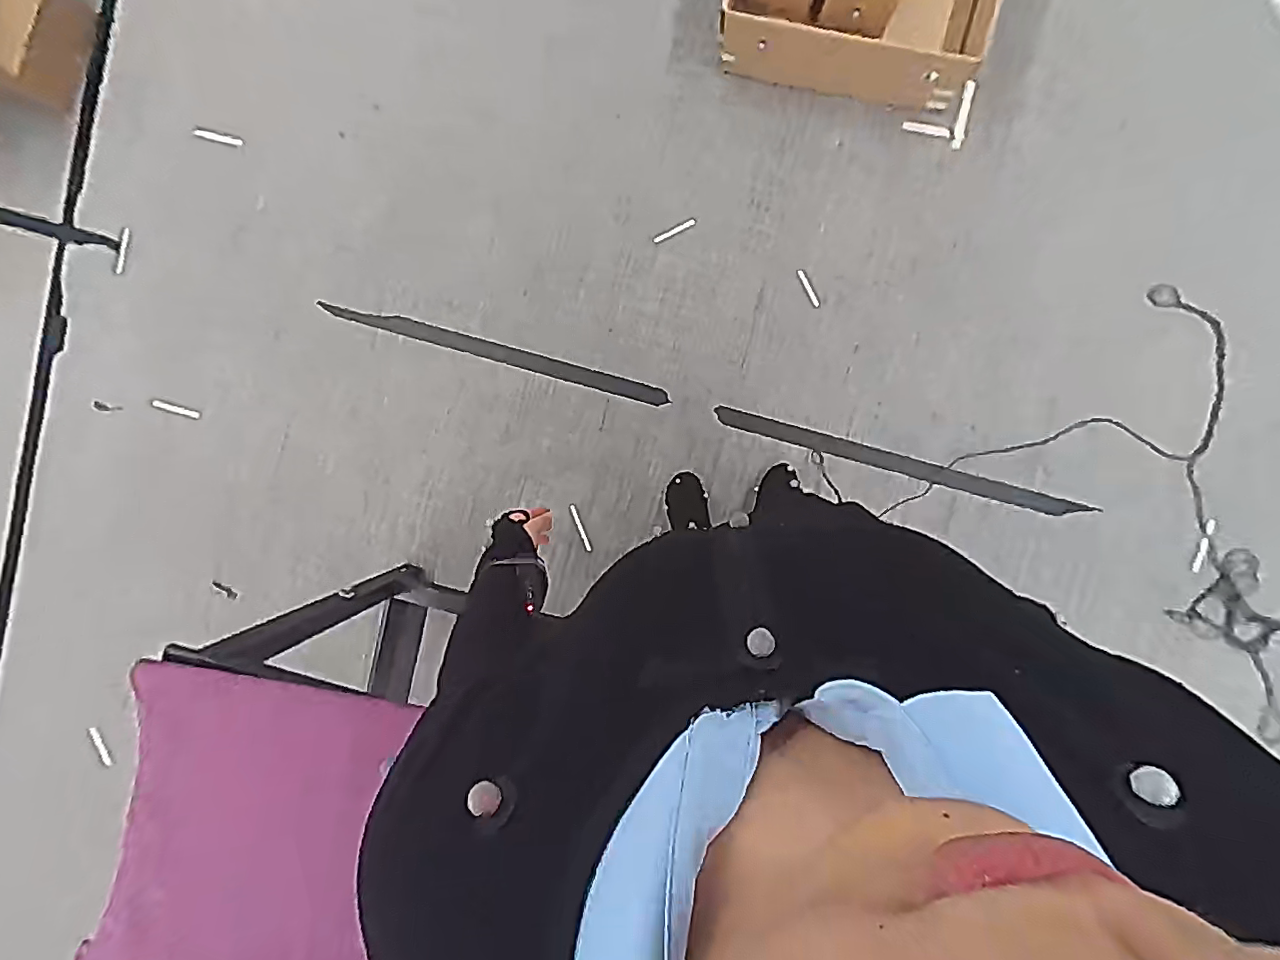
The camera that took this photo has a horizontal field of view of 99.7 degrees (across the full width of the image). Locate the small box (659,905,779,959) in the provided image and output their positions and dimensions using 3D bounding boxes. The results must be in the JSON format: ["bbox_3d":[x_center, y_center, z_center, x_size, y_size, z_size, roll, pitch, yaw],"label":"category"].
[{"bbox_3d":[0.100,0.732,0.720,0.168,0.176,0.179,11,93,6],"label":"small box"}]

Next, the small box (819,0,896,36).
[{"bbox_3d":[0.537,-1.212,1.288,0.168,0.176,0.179,10,93,4],"label":"small box"}]
